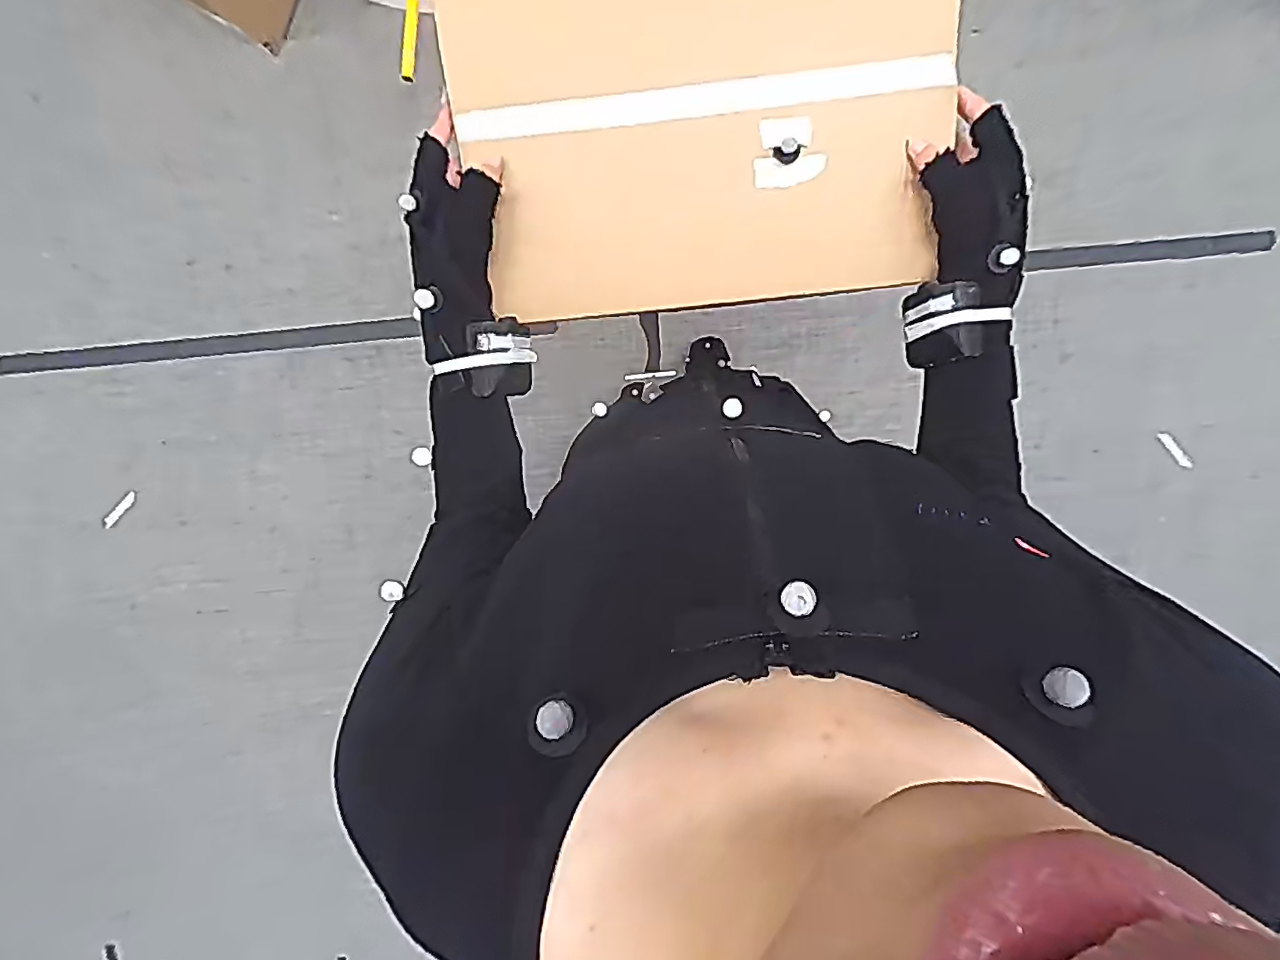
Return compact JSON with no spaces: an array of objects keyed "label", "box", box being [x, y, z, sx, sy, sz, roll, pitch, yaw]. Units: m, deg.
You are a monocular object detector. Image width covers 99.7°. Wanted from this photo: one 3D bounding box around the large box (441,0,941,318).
[{"label":"large box","box":[0.046,-0.361,0.593,0.408,0.320,0.320,-5,107,1]}]
